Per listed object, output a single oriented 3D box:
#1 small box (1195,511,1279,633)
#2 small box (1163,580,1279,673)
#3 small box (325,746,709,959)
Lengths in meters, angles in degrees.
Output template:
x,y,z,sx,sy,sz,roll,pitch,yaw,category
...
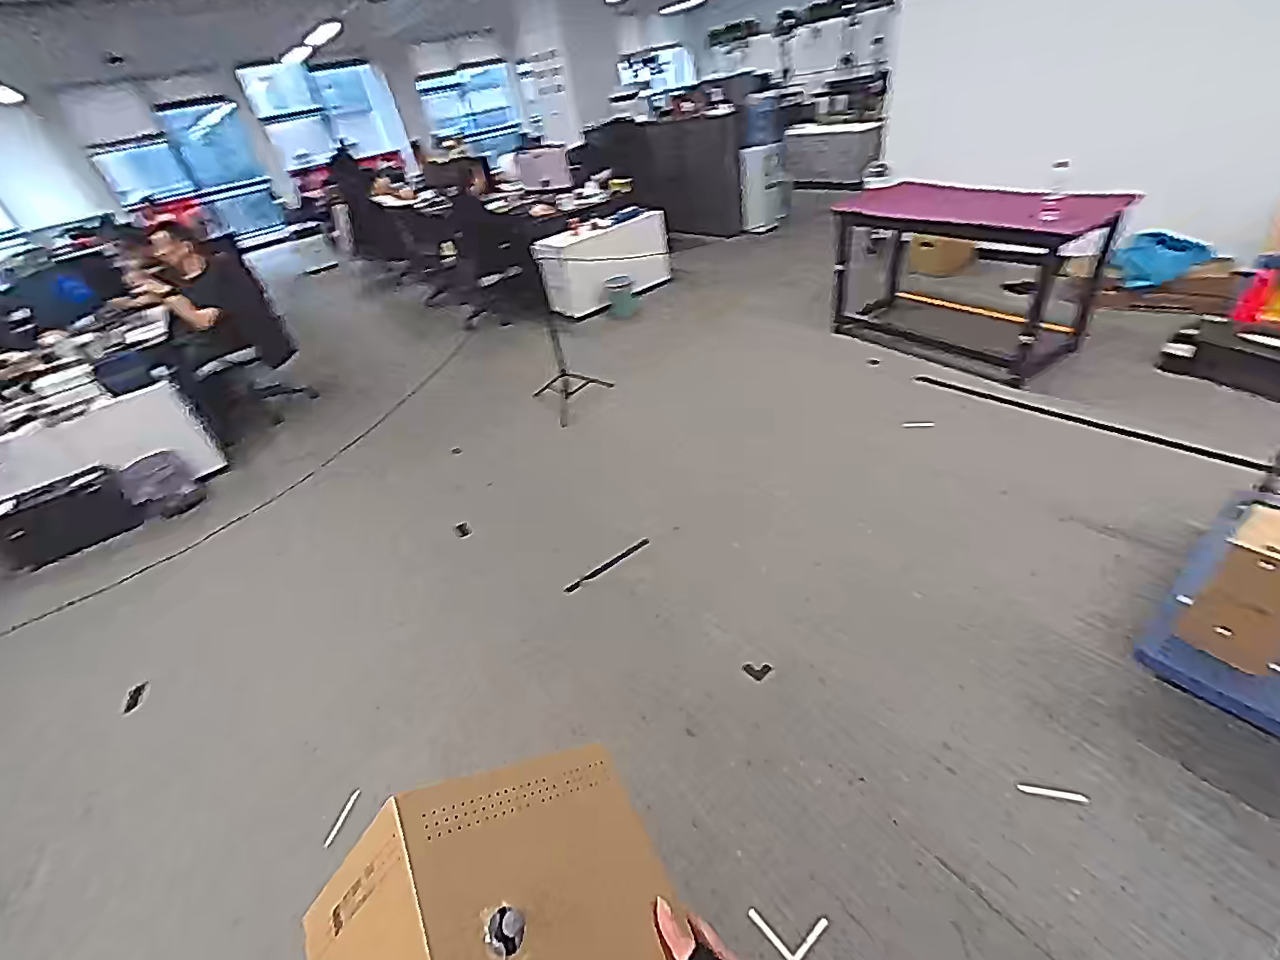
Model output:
x,y,z,sx,sy,sz,roll,pitch,yaw,category
1.411,0.205,1.212,0.179,0.176,0.168,-29,40,-25,small box
1.436,0.337,1.307,0.168,0.176,0.179,-27,39,-22,small box
-0.091,0.314,0.369,0.179,0.168,0.176,14,33,-46,small box
